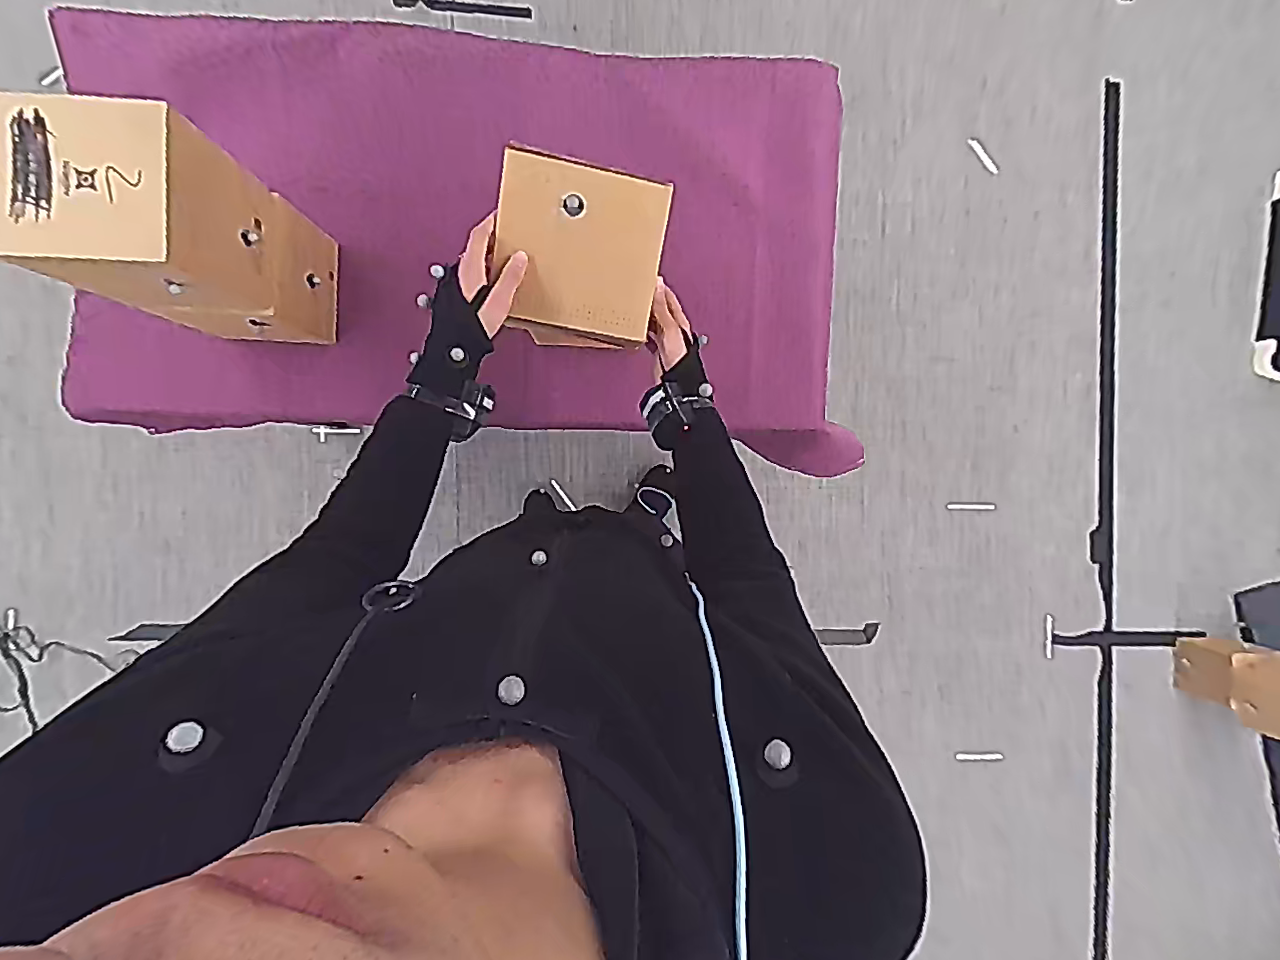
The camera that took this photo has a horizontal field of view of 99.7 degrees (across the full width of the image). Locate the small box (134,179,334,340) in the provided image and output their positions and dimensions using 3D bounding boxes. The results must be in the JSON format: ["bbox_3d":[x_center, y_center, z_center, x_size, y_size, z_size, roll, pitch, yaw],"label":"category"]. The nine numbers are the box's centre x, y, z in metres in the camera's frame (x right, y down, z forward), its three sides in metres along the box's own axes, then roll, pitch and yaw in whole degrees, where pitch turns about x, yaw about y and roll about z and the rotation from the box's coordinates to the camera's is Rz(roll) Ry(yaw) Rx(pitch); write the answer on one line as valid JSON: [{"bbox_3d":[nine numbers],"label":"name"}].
[{"bbox_3d":[-0.573,-0.306,0.786,0.179,0.176,0.168,3,91,-4],"label":"small box"}]

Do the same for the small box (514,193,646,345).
[{"bbox_3d":[-0.085,-0.306,0.816,0.179,0.176,0.168,2,91,-4],"label":"small box"}]
